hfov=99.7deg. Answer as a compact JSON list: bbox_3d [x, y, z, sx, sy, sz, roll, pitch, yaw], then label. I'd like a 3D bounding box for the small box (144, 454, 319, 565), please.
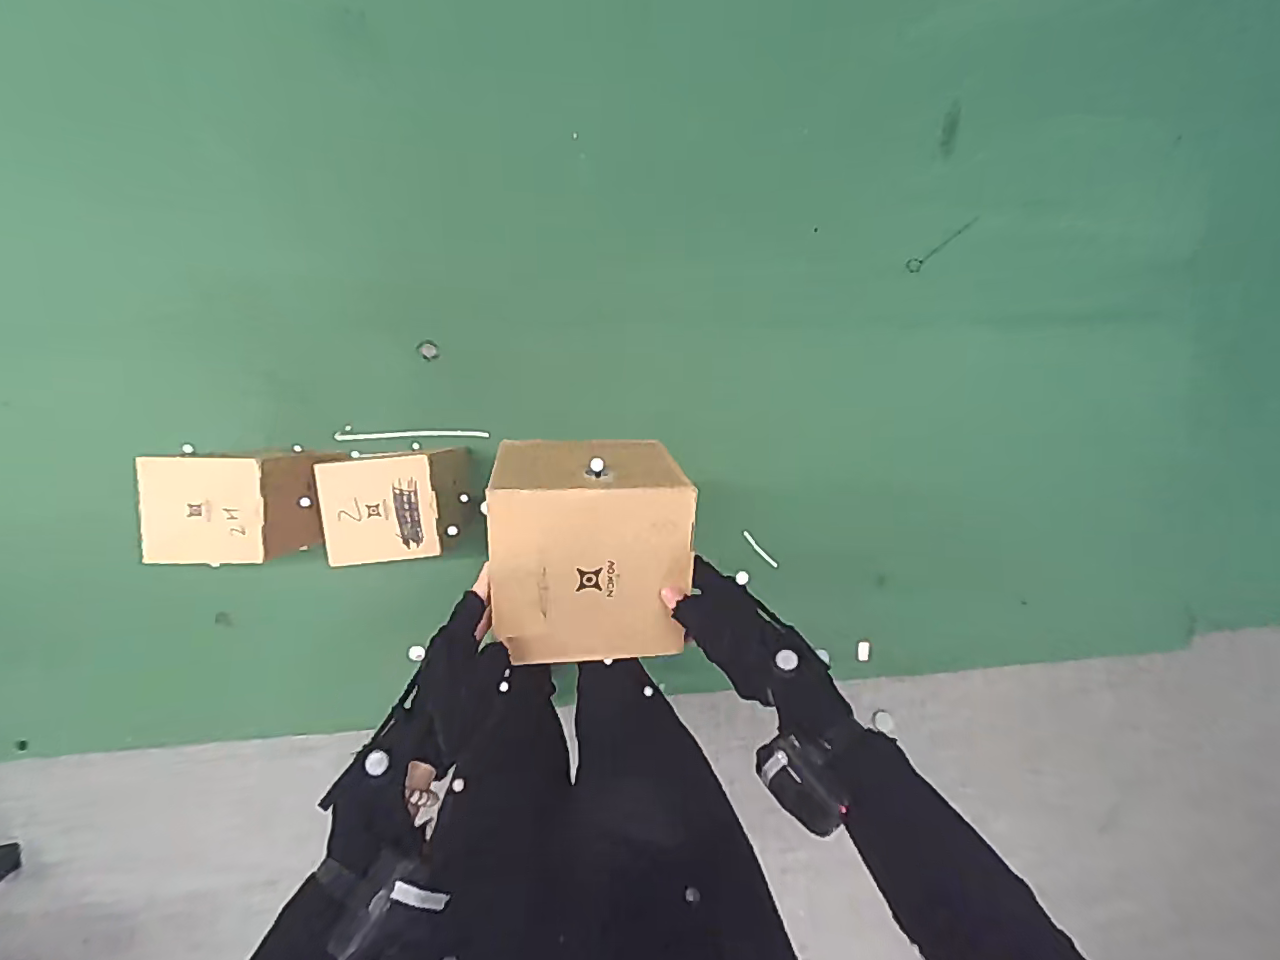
[{"bbox_3d":[-0.673,0.043,0.909,0.179,0.176,0.168,1,95,-6],"label":"small box"}]

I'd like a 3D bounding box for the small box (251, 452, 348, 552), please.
[{"bbox_3d":[-0.699,0.038,1.072,0.168,0.176,0.179,2,95,-6],"label":"small box"}]
